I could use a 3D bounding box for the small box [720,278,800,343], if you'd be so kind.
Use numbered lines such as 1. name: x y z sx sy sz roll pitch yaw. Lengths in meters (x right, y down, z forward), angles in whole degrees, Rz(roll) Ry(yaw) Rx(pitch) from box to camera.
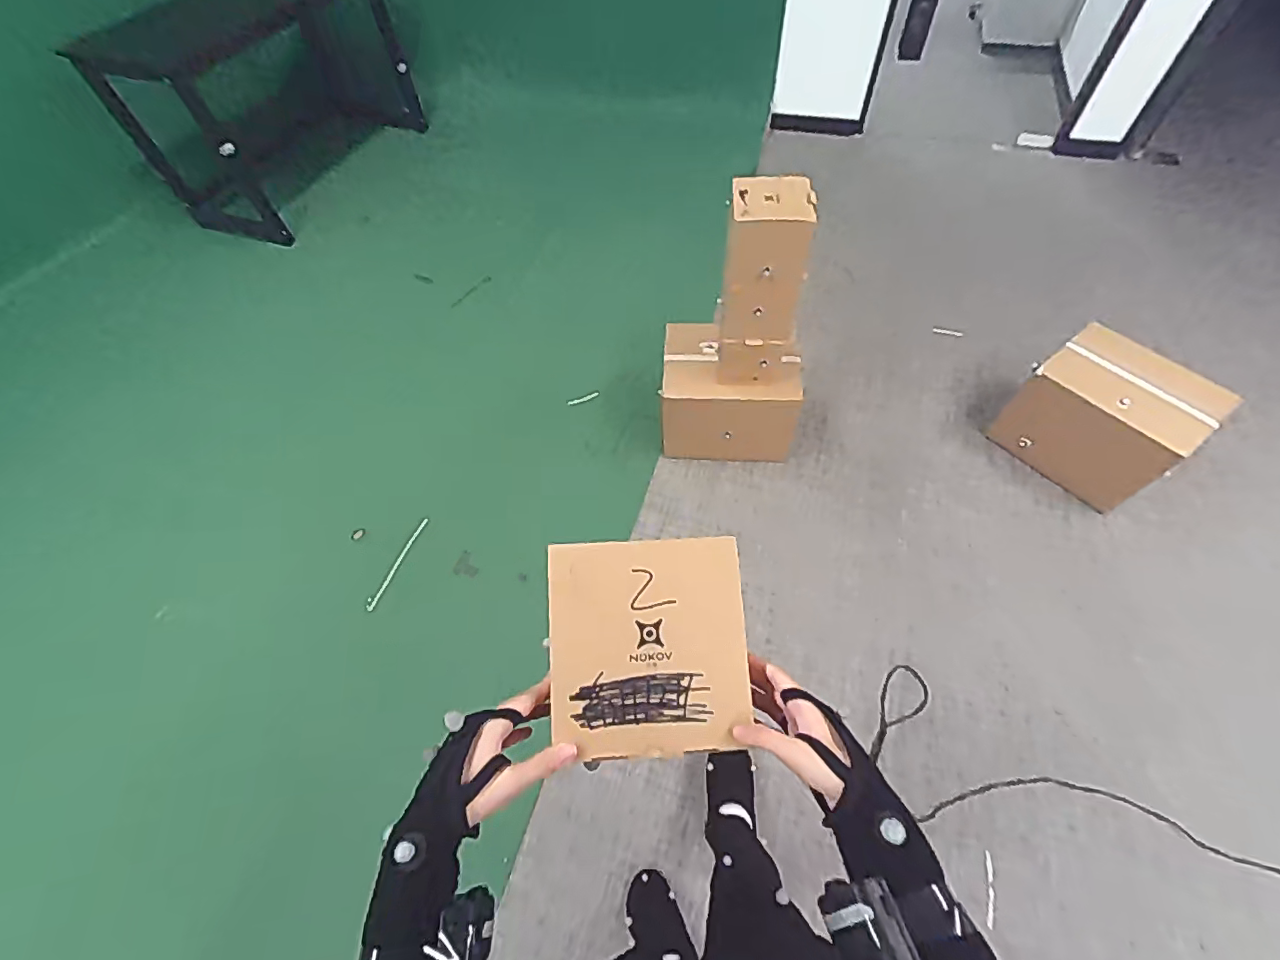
1. small box: 0.301 -0.470 1.393 0.179 0.176 0.168 1 57 4

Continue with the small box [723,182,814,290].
1. small box: 0.290 -0.563 1.257 0.179 0.176 0.168 3 57 4

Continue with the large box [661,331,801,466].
1. large box: 0.277 -0.256 1.742 0.408 0.320 0.320 1 55 6

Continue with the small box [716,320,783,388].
1. small box: 0.306 -0.378 1.528 0.168 0.176 0.179 2 57 5
